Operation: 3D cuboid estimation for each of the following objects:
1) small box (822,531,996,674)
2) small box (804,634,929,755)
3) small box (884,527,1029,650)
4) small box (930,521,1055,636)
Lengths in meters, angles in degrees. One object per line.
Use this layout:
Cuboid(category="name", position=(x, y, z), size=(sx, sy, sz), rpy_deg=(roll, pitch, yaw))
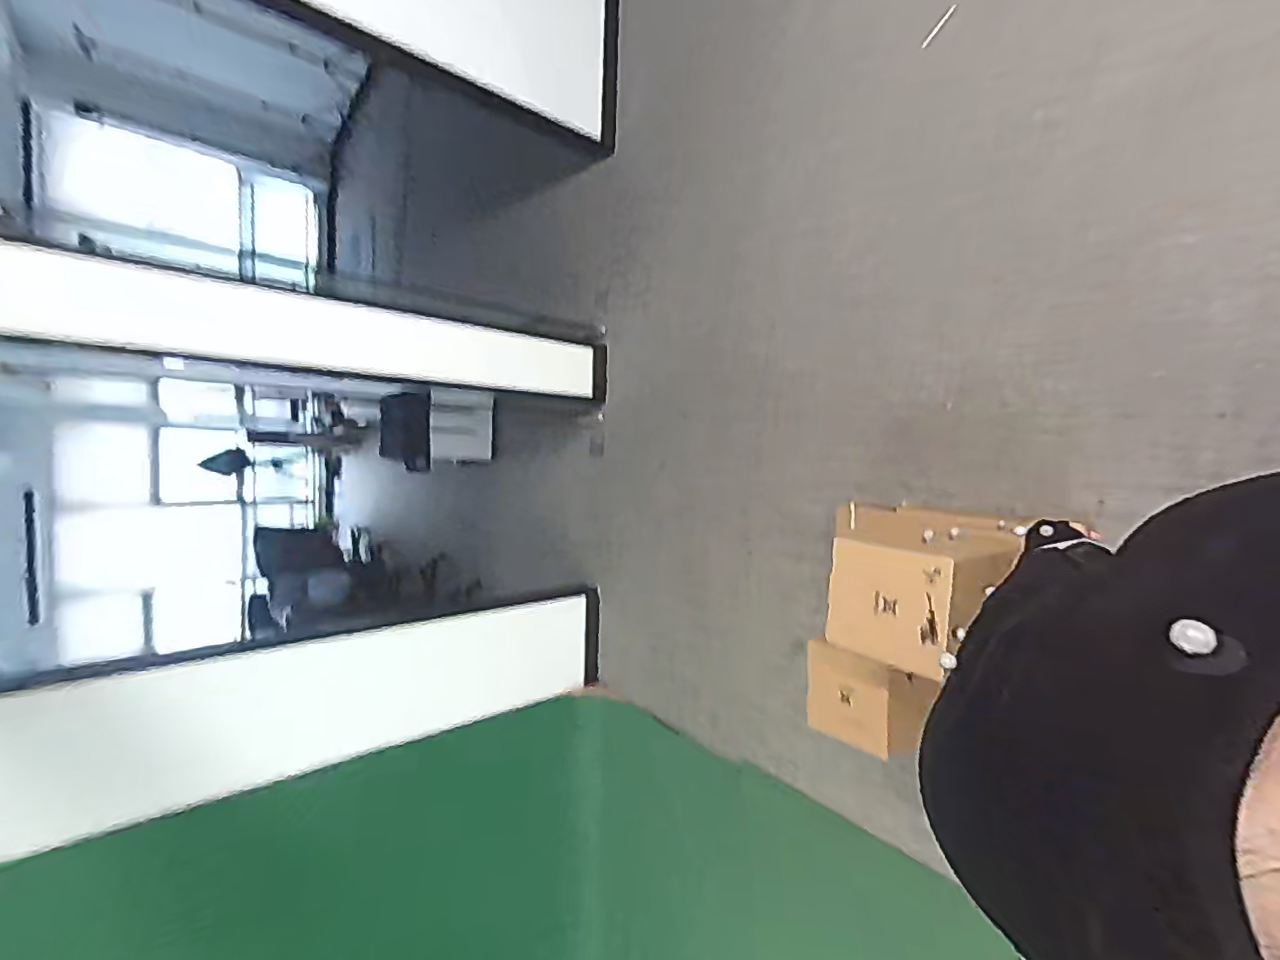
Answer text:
Cuboid(category="small box", position=(0.408, 0.173, 0.827), size=(0.179, 0.176, 0.168), rpy_deg=(8, 96, 51))
Cuboid(category="small box", position=(0.440, 0.392, 1.053), size=(0.168, 0.176, 0.179), rpy_deg=(3, 93, 53))
Cuboid(category="small box", position=(0.535, 0.174, 0.931), size=(0.179, 0.176, 0.168), rpy_deg=(8, 95, 50))
Cuboid(category="small box", position=(0.665, 0.175, 1.030), size=(0.168, 0.176, 0.179), rpy_deg=(8, 96, 52))
